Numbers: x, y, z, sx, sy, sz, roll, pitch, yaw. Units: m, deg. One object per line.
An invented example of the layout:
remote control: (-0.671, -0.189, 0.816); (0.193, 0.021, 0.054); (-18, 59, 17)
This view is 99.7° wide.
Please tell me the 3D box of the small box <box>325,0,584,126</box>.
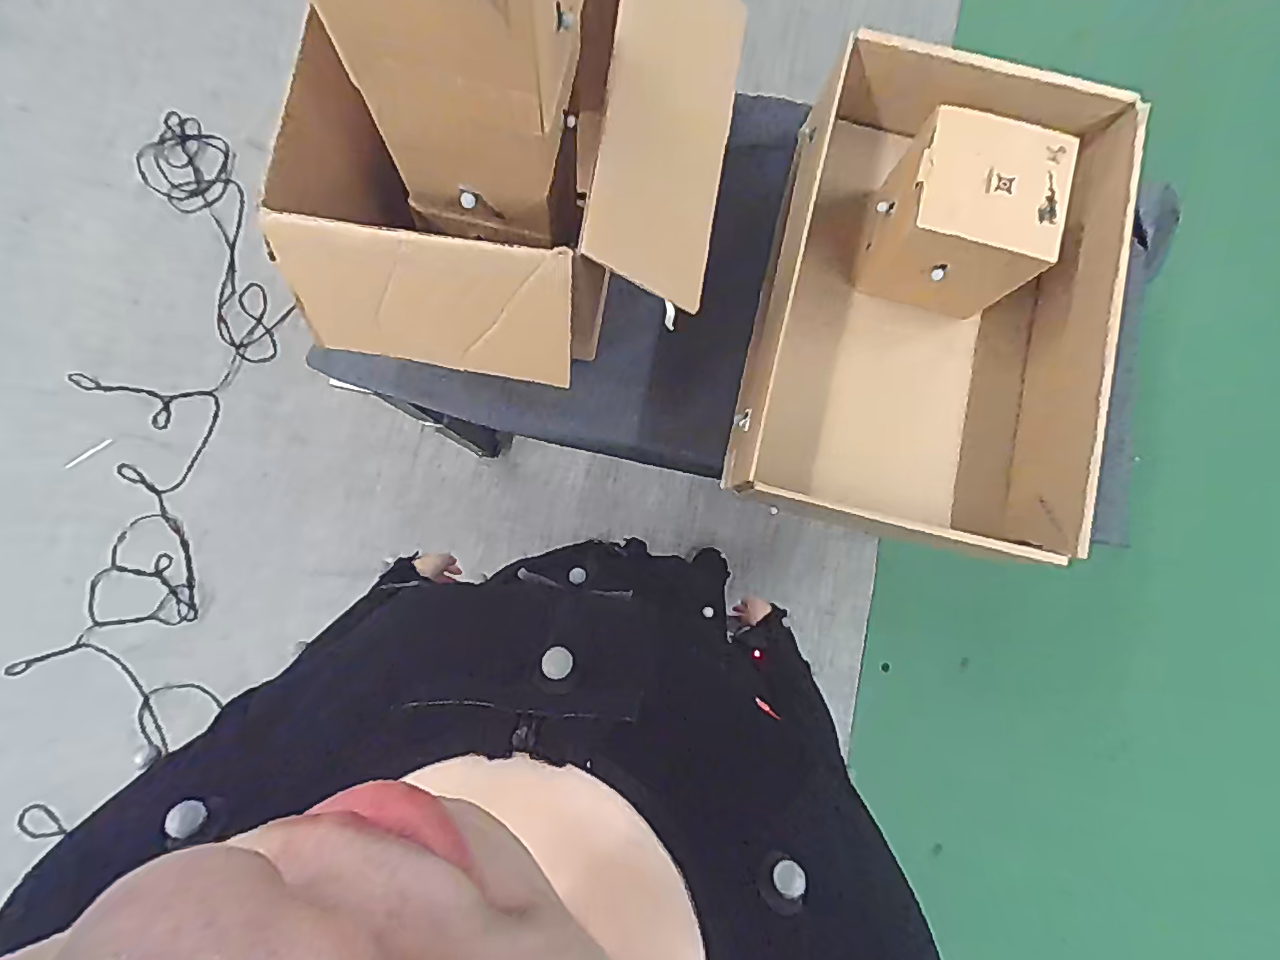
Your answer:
small box: (-0.142, -0.417, 0.414); (0.179, 0.176, 0.168); (12, 82, -5)

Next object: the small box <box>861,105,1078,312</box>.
small box: (0.420, -0.345, 0.720); (0.179, 0.176, 0.168); (14, 85, 2)
